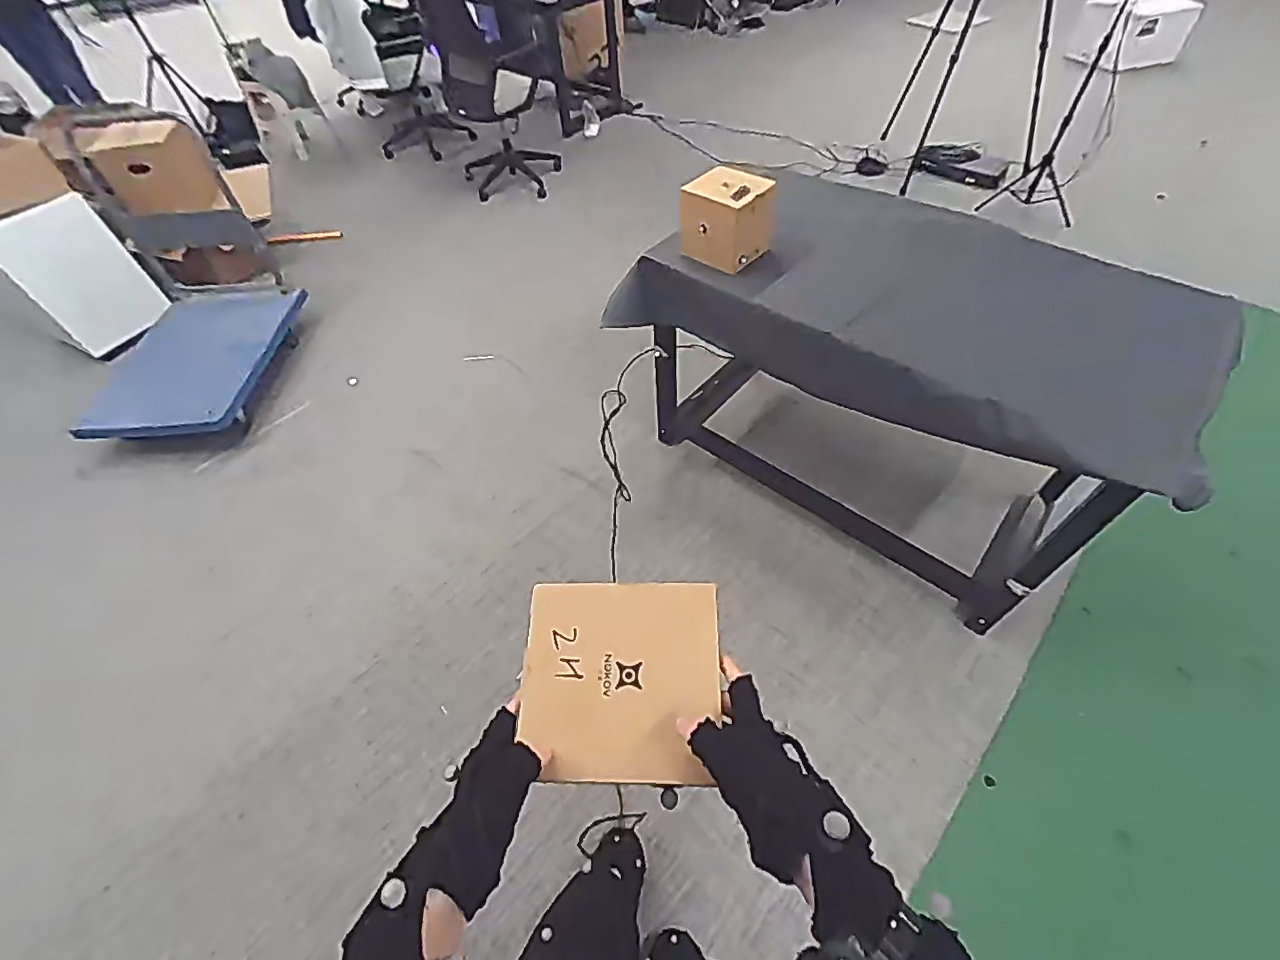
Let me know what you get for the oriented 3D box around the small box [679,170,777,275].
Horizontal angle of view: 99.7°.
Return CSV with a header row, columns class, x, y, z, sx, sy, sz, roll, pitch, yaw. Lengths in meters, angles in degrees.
class,x,y,z,sx,sy,sz,roll,pitch,yaw
small box,0.216,-0.641,1.359,0.179,0.176,0.168,34,60,26
